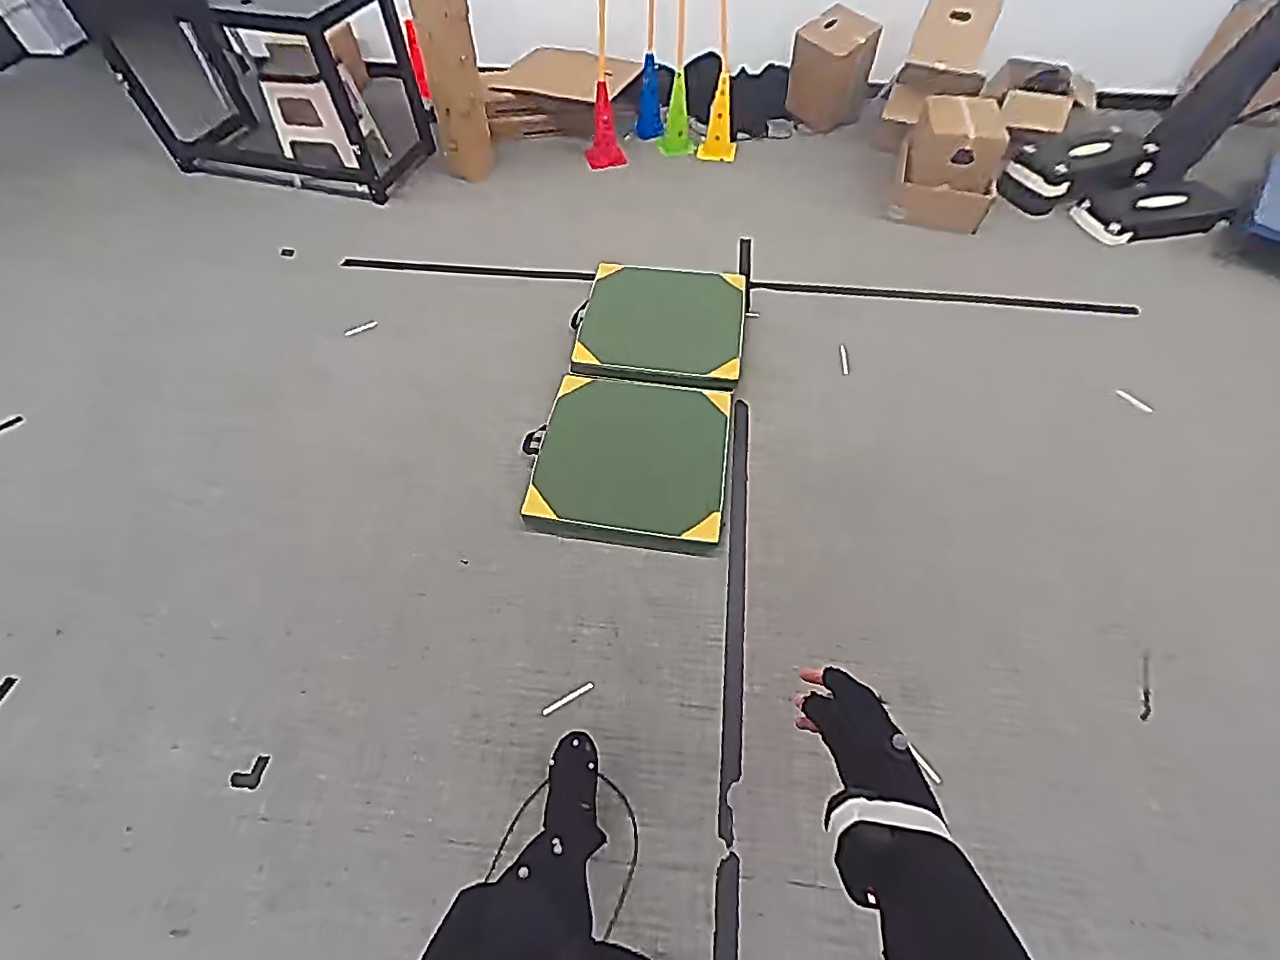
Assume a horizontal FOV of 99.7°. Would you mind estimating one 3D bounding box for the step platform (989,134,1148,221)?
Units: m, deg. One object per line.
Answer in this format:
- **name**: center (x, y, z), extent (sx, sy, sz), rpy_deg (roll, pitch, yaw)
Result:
- **step platform**: center (2.108, -1.496, 2.661), extent (0.684, 0.204, 0.286), rpy_deg (-19, 58, -12)
